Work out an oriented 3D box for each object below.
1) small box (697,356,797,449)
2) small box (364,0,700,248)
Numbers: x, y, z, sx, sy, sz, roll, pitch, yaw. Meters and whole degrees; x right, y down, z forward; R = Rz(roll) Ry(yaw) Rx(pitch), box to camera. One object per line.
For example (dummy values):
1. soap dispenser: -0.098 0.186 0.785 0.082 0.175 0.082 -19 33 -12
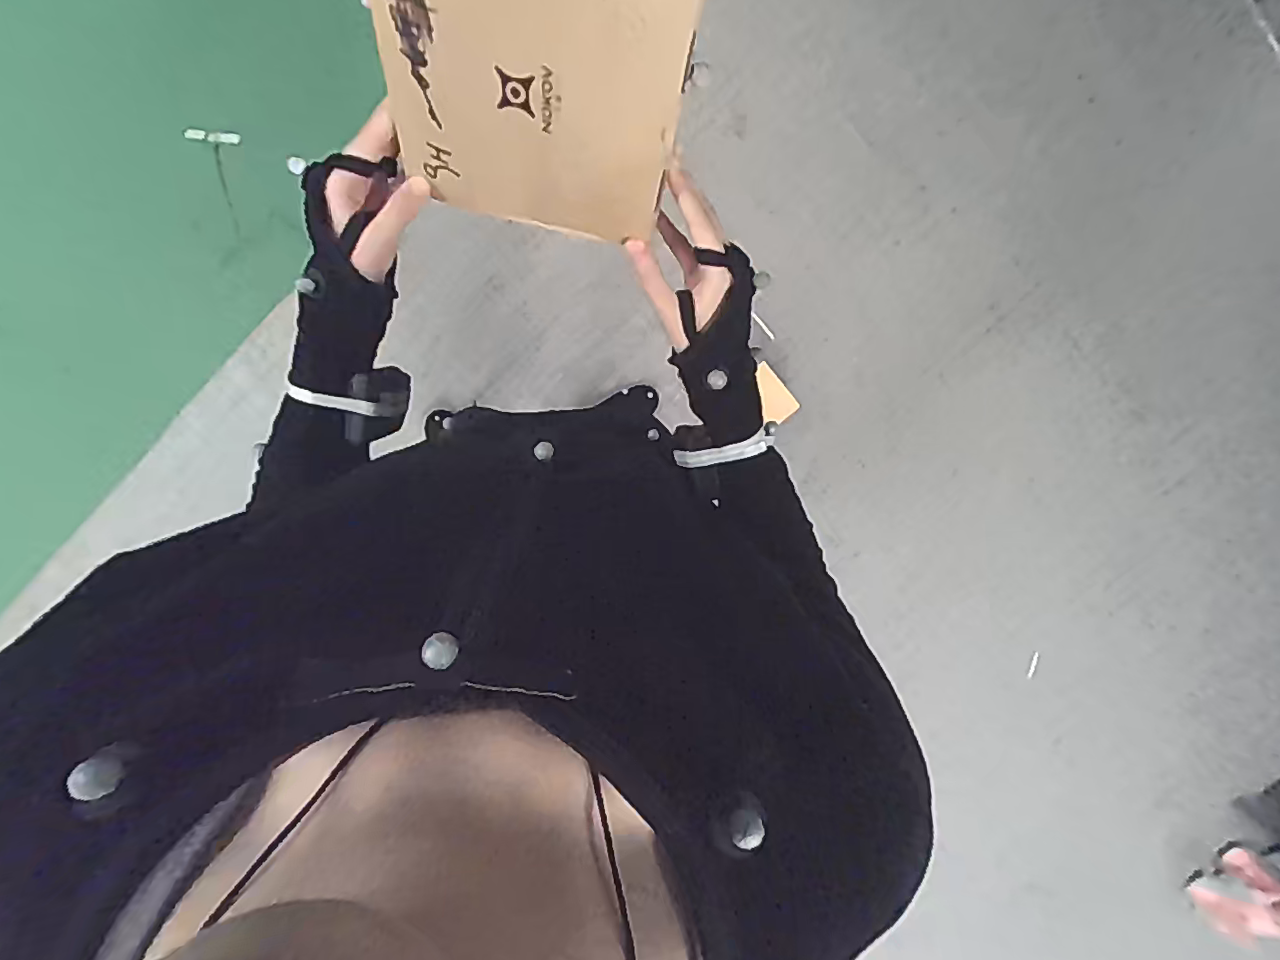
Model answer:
1. small box: 0.271 -0.208 1.413 0.179 0.176 0.168 -41 102 7
2. small box: -0.059 -0.292 0.360 0.179 0.168 0.176 11 57 -5
